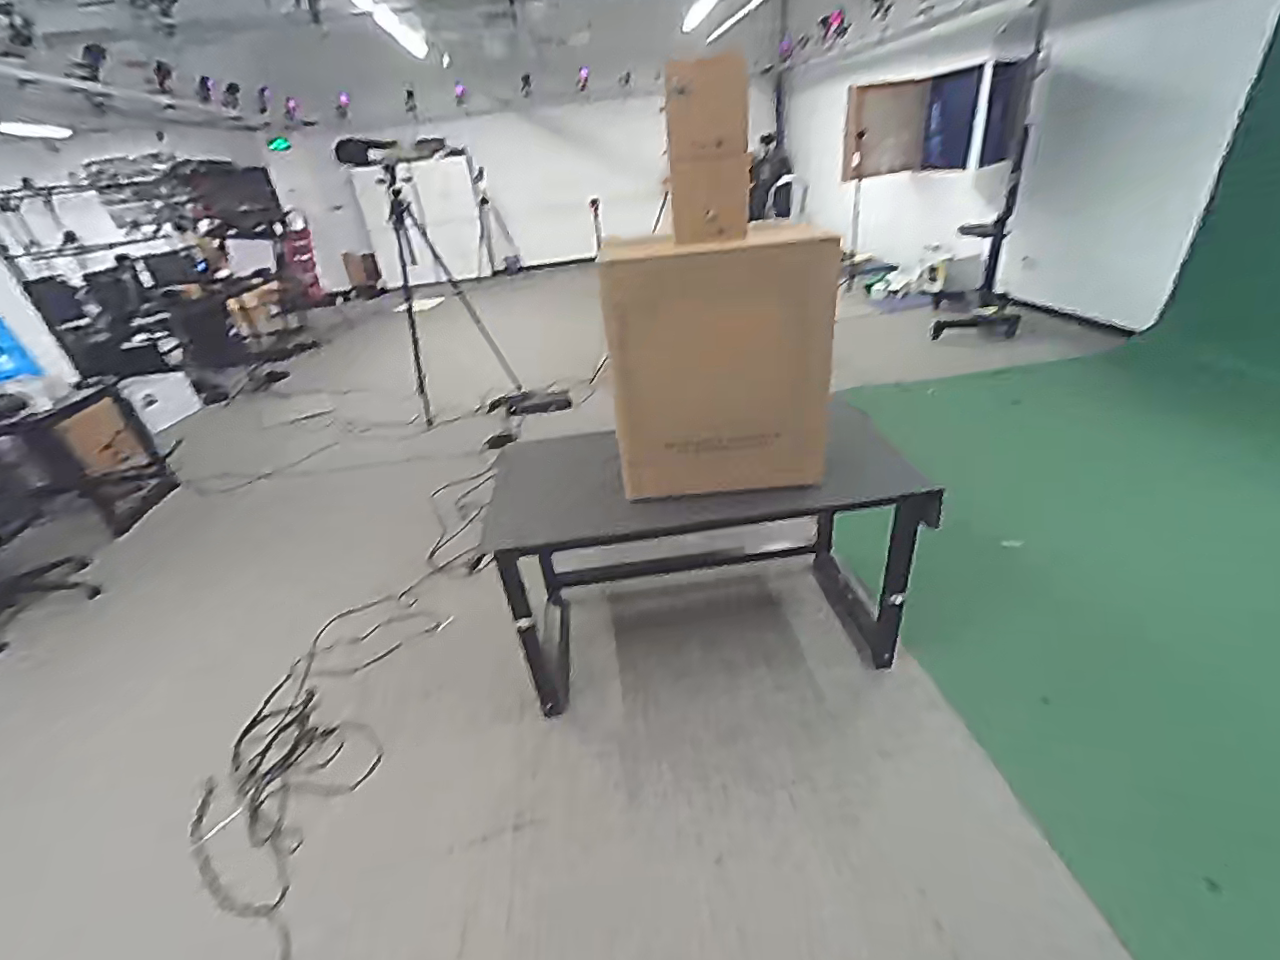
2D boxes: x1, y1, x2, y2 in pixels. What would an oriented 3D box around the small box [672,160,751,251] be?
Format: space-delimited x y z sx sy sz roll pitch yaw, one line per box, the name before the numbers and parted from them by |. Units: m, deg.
small box | 0.159 -0.633 1.247 0.168 0.176 0.179 -4 32 3
